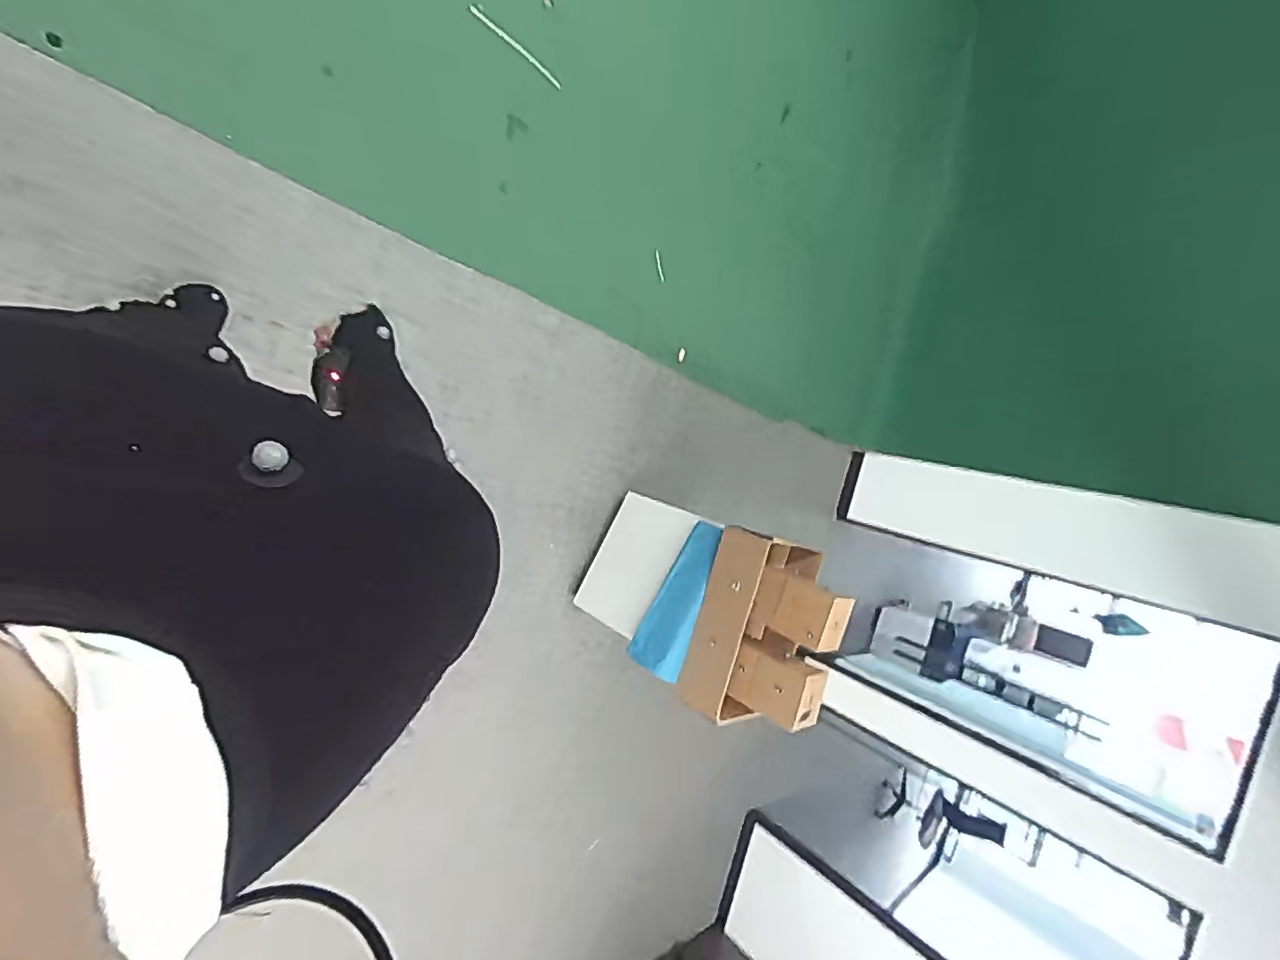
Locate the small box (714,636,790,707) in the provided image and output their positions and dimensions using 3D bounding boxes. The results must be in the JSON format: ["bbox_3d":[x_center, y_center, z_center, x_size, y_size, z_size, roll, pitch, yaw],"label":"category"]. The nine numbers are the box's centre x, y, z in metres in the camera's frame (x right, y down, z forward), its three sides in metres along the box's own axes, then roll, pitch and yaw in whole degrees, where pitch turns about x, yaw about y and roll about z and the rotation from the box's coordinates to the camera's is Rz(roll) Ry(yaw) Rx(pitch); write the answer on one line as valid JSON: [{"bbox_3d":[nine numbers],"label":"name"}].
[{"bbox_3d":[0.373,0.633,1.811,0.168,0.176,0.179,17,90,-46],"label":"small box"}]

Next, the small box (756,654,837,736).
[{"bbox_3d":[0.487,0.669,1.699,0.168,0.176,0.179,15,90,-46],"label":"small box"}]
